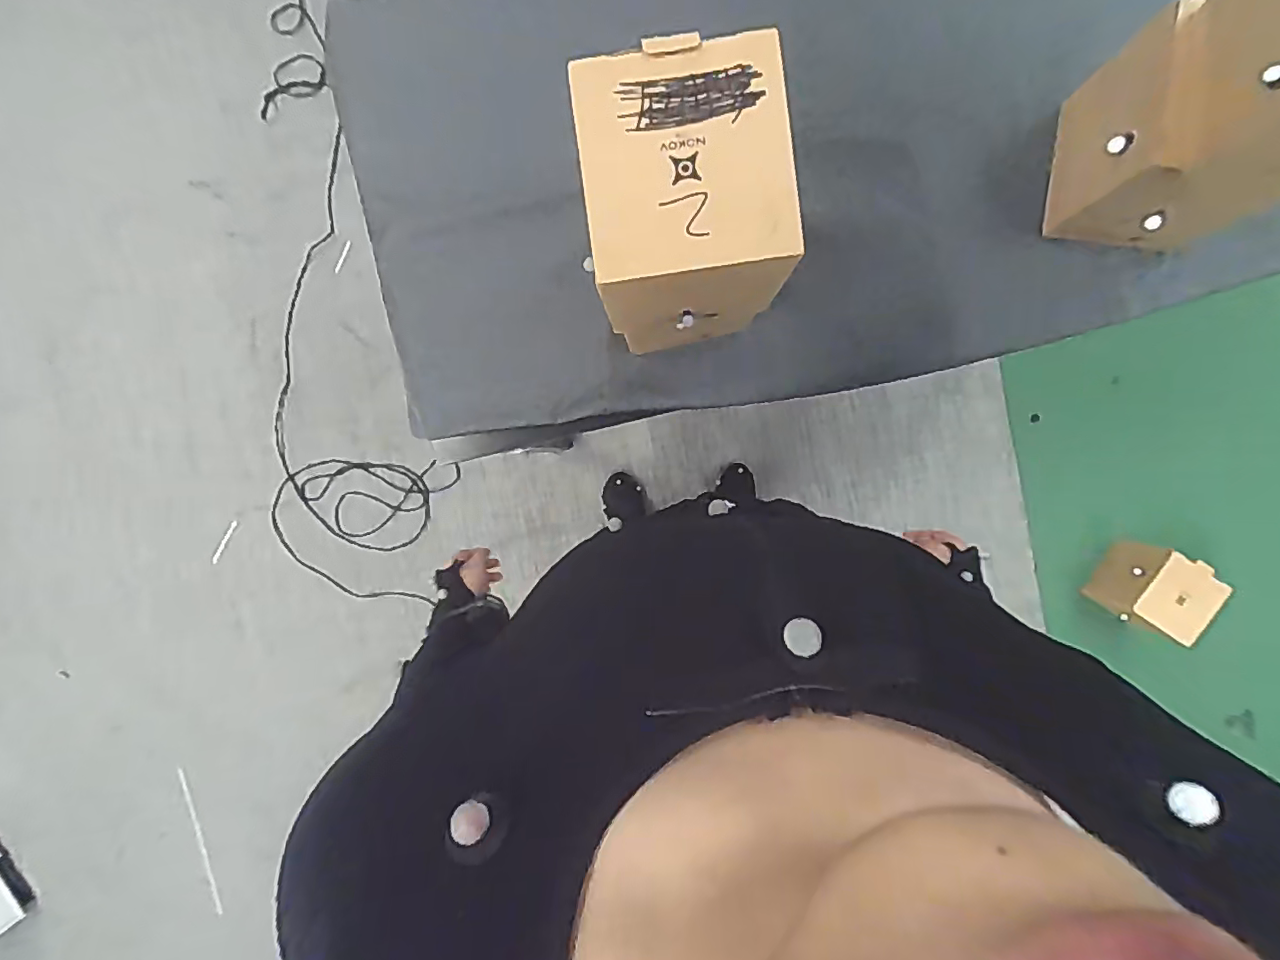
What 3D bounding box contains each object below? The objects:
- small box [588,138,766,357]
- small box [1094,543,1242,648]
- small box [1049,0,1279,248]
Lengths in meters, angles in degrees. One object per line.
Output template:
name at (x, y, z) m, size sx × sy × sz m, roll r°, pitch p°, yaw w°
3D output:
small box at (0.042, -0.266, 0.660) m, size 0.168 × 0.176 × 0.179 m, roll -12°, pitch 91°, yaw 4°
small box at (1.294, 0.279, 1.345) m, size 0.168 × 0.176 × 0.179 m, roll 33°, pitch 94°, yaw 1°
small box at (0.610, -0.387, 0.615) m, size 0.168 × 0.176 × 0.179 m, roll 8°, pitch 91°, yaw 3°
